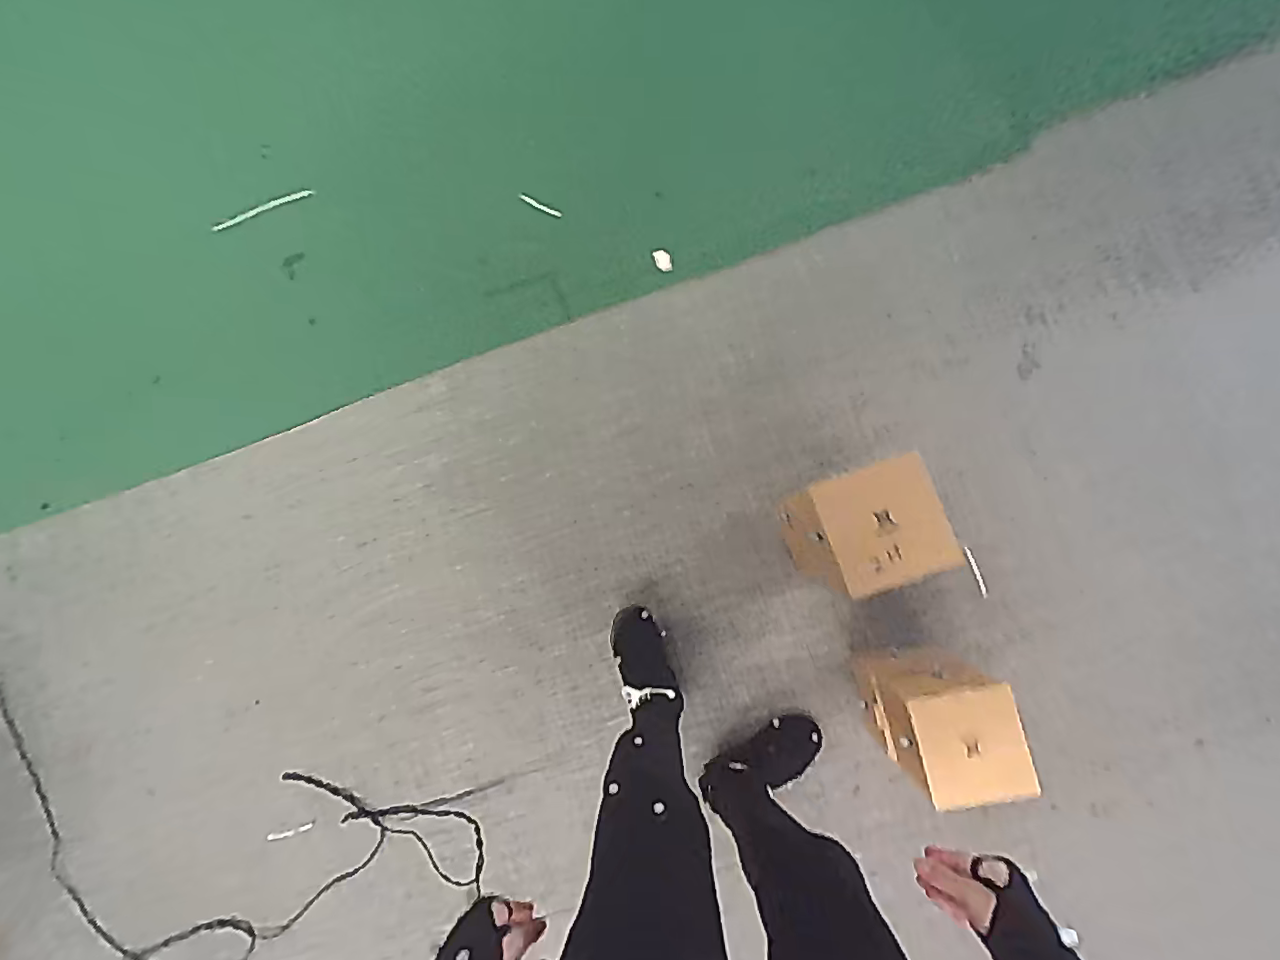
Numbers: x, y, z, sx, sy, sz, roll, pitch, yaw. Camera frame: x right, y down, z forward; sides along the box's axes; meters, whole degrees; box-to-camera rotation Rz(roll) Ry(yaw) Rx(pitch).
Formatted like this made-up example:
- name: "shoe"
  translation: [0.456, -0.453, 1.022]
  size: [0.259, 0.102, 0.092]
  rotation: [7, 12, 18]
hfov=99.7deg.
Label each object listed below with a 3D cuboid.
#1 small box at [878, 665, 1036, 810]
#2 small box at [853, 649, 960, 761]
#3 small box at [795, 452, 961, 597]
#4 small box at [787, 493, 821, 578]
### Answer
- name: "small box"
  translation: [0.545, 0.444, 0.955]
  size: [0.168, 0.176, 0.179]
  rotation: [-13, 81, 5]
- name: "small box"
  translation: [0.556, 0.457, 1.118]
  size: [0.179, 0.176, 0.168]
  rotation: [-11, 82, 7]
- name: "small box"
  translation: [0.360, 0.075, 0.857]
  size: [0.168, 0.176, 0.179]
  rotation: [-19, 81, 5]
- name: "small box"
  translation: [0.390, 0.085, 1.020]
  size: [0.179, 0.176, 0.168]
  rotation: [-20, 81, 3]
